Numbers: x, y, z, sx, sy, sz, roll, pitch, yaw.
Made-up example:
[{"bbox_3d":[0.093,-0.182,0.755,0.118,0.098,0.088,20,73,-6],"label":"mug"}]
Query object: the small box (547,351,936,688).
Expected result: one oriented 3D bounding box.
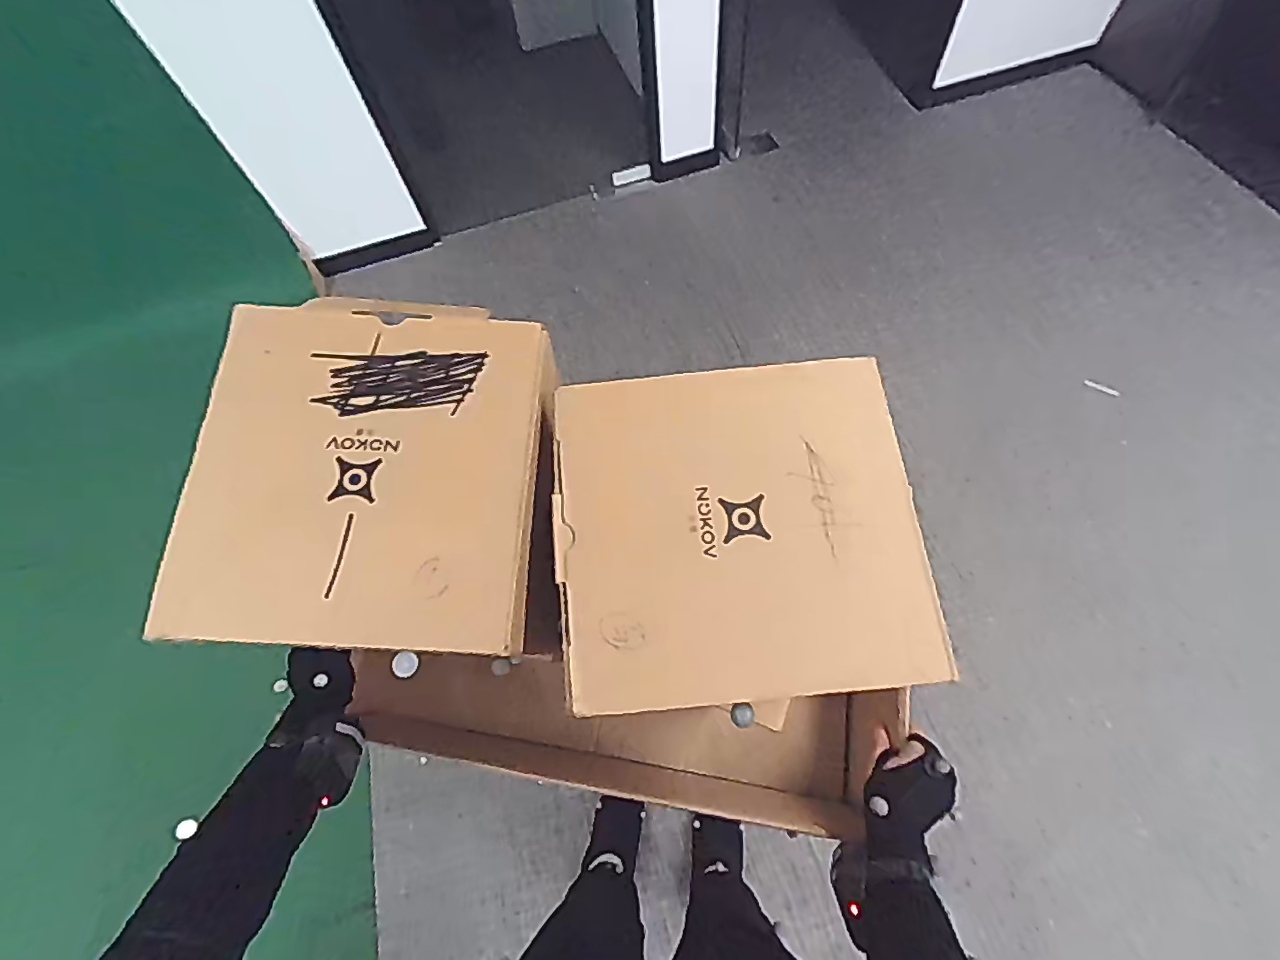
[{"bbox_3d":[0.045,0.040,0.345,0.179,0.176,0.168,-5,71,1],"label":"small box"}]
